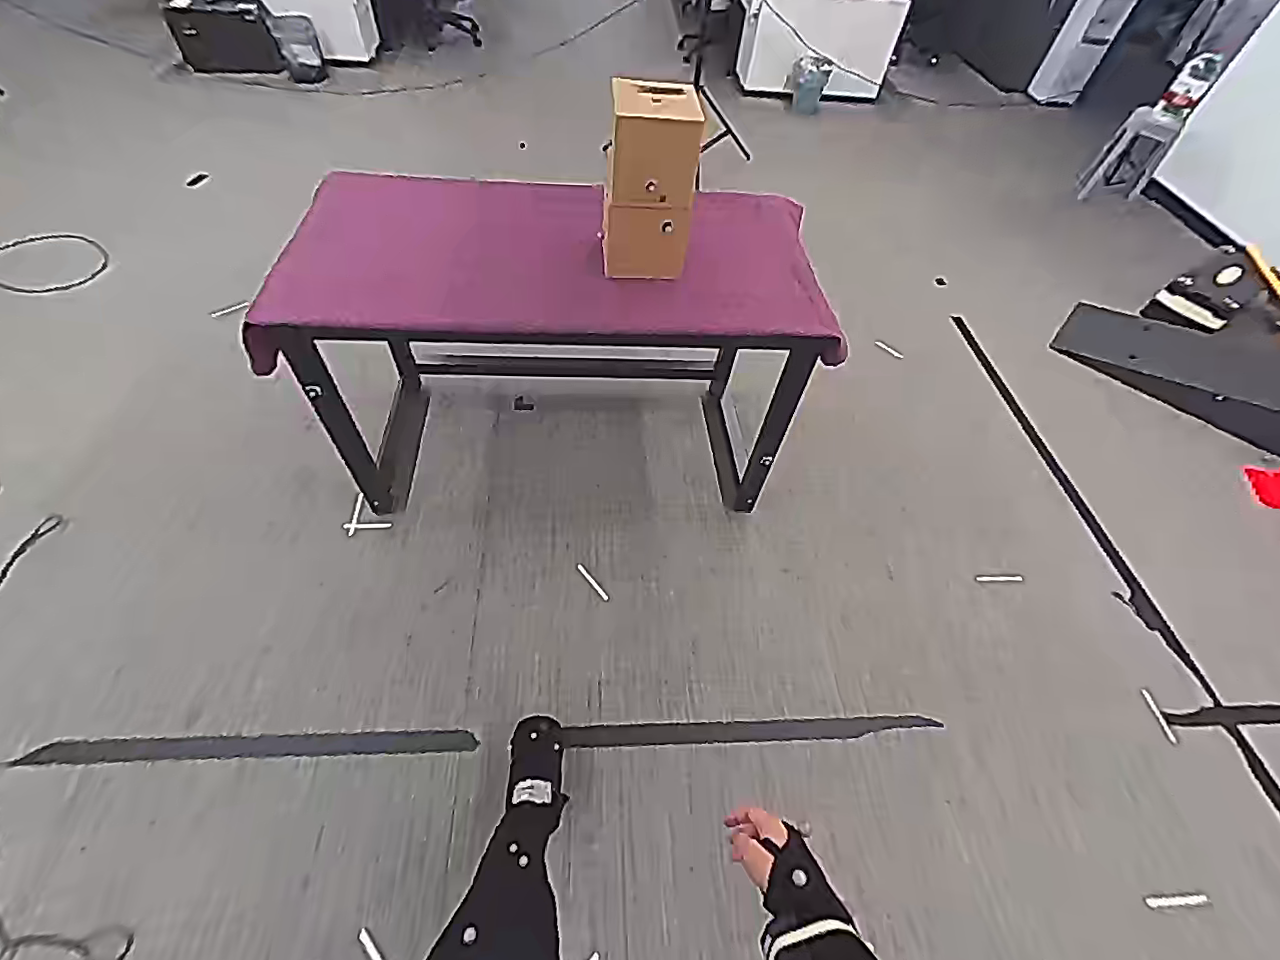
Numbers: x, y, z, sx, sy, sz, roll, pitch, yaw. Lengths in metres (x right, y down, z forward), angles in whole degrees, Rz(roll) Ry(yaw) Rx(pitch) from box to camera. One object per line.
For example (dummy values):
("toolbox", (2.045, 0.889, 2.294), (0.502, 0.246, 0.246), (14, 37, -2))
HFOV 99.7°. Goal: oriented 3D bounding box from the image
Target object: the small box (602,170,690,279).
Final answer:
("small box", (0.005, -0.572, 1.220), (0.179, 0.176, 0.168), (-2, 53, -6))
